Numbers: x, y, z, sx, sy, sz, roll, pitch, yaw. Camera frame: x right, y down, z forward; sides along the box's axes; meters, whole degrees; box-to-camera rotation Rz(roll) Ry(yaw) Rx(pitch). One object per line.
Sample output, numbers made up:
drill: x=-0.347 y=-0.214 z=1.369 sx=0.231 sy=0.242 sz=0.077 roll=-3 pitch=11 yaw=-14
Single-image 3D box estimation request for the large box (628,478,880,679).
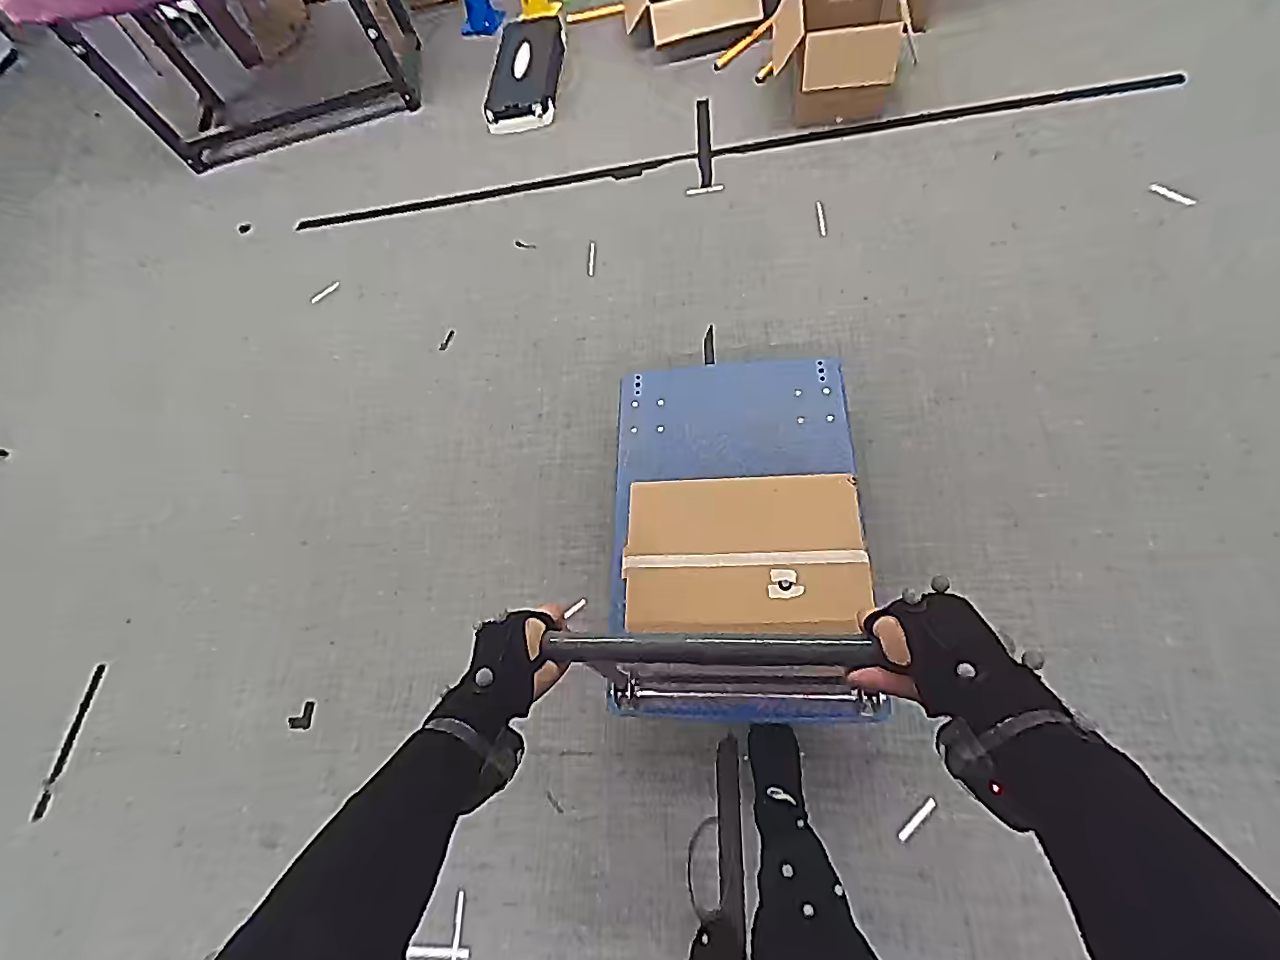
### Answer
large box: x=0.198 y=0.208 z=1.054 sx=0.408 sy=0.320 sz=0.320 roll=-2 pitch=65 yaw=8
